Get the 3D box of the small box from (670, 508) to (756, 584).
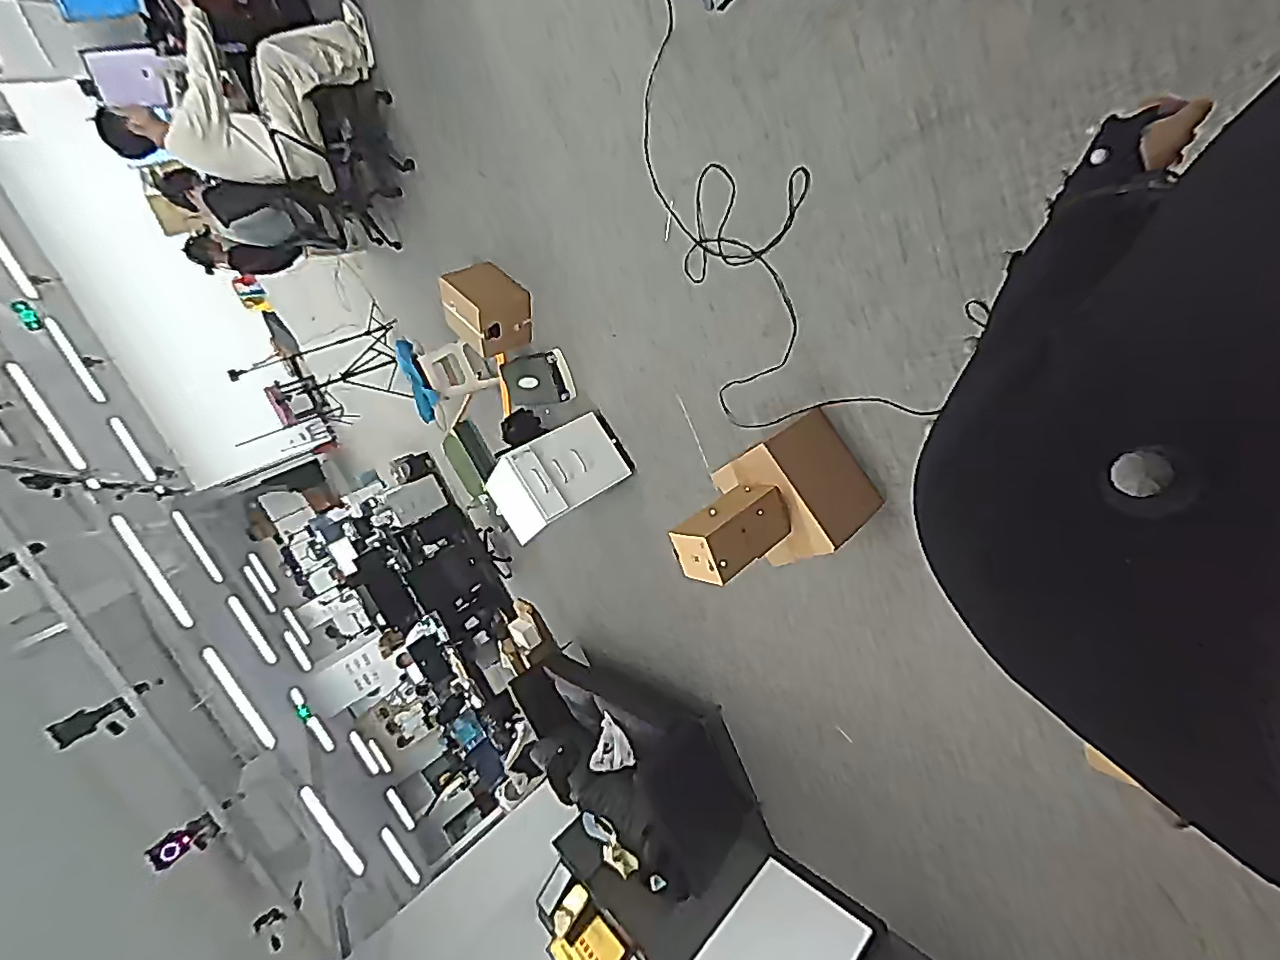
[{"bbox_3d":[0.229,0.197,1.682,0.179,0.176,0.168,2,118,56],"label":"small box"}]
